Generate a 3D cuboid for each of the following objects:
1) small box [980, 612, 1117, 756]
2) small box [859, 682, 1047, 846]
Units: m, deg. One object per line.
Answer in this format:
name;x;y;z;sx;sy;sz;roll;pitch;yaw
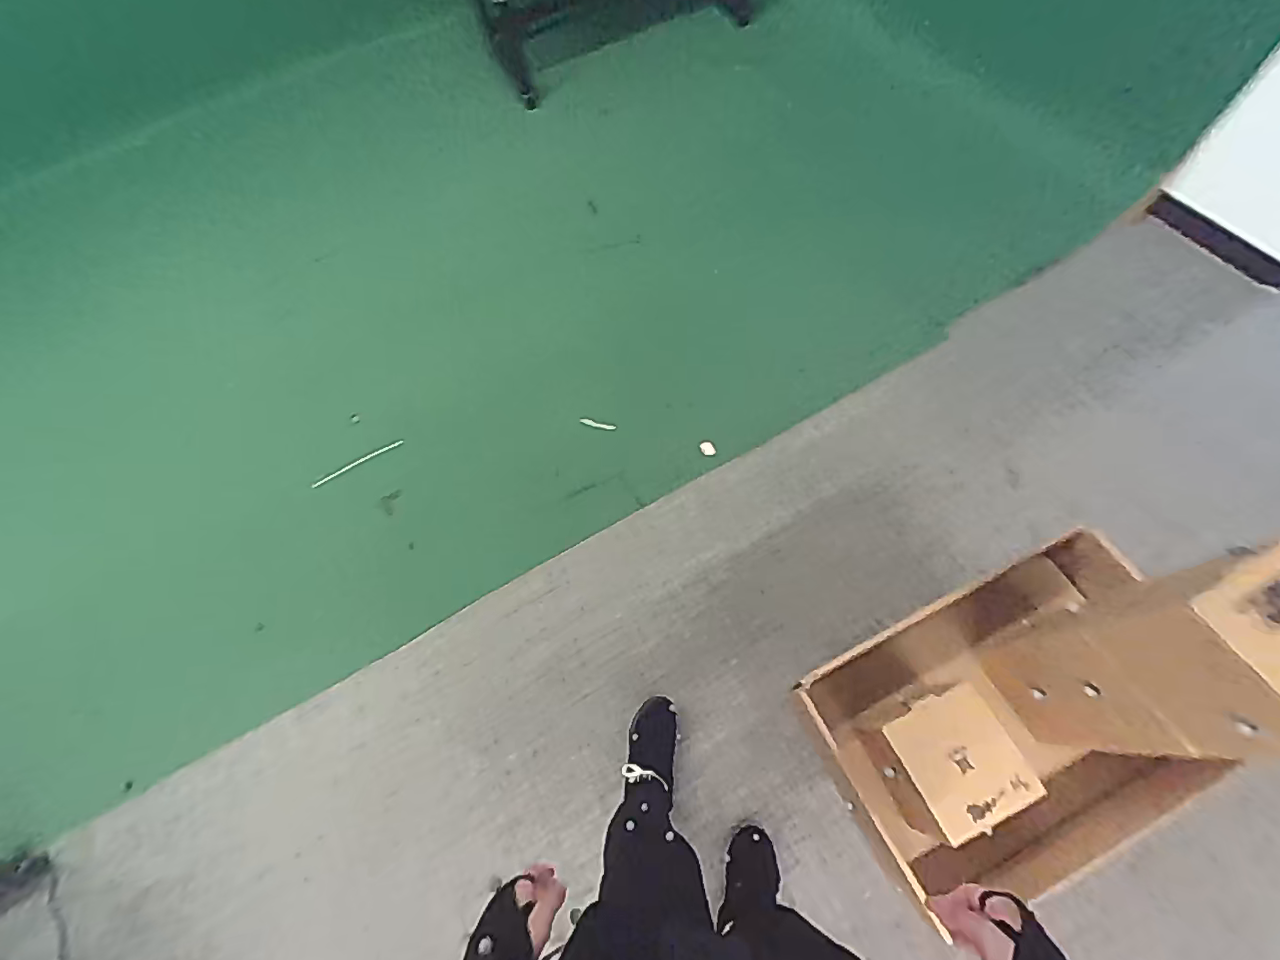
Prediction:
small box;0.731;0.336;0.912;0.168;0.176;0.179;-26;65;-6
small box;0.489;0.454;0.879;0.168;0.176;0.179;-24;65;-6
